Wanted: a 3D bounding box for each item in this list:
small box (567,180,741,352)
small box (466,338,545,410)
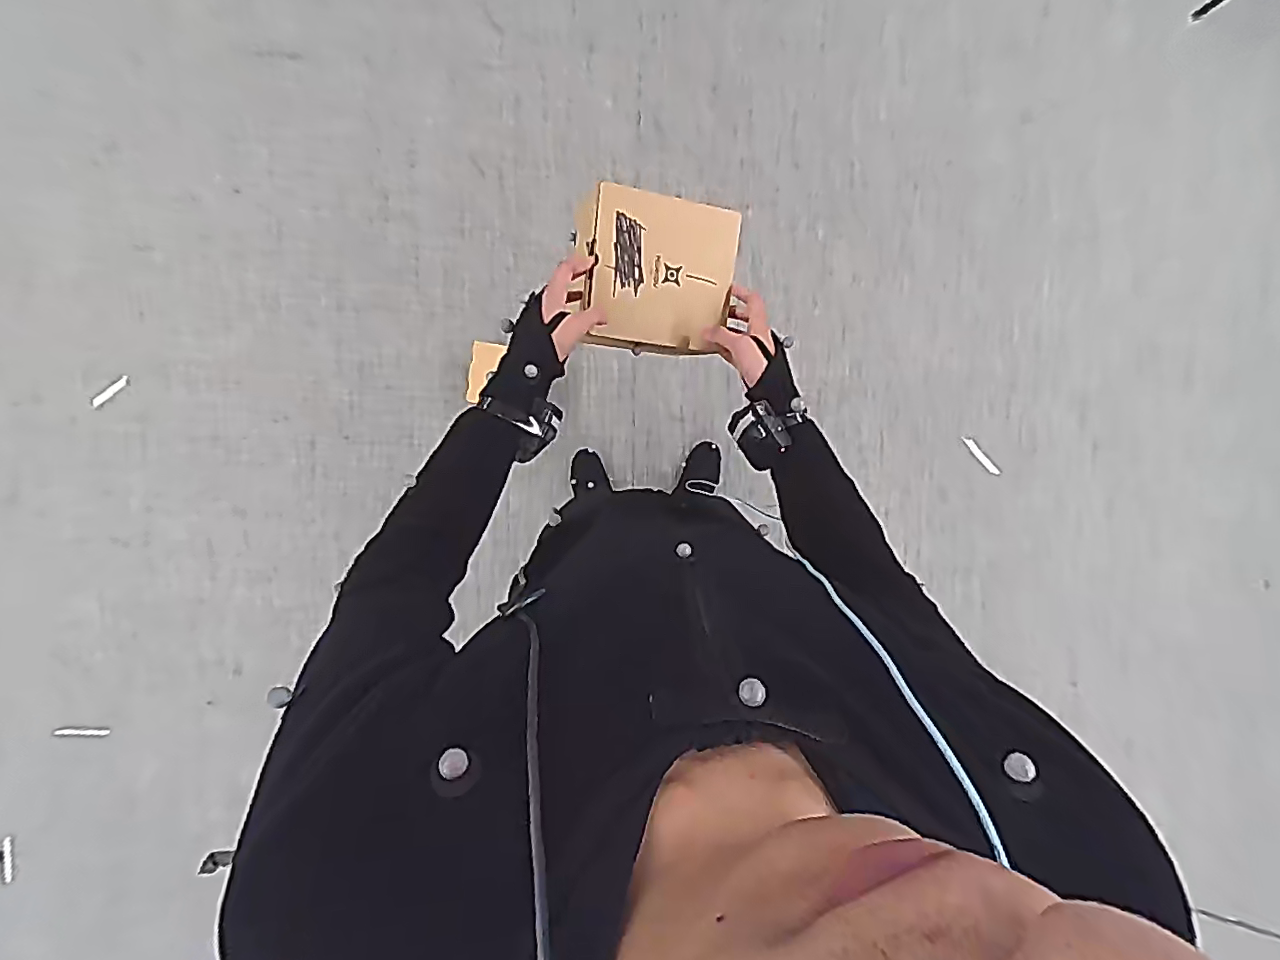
[{"bbox_3d":[0.006,-0.261,0.704,0.179,0.176,0.168,4,101,-18],"label":"small box"},{"bbox_3d":[-0.374,-0.294,1.537,0.179,0.176,0.168,9,93,-2],"label":"small box"}]
